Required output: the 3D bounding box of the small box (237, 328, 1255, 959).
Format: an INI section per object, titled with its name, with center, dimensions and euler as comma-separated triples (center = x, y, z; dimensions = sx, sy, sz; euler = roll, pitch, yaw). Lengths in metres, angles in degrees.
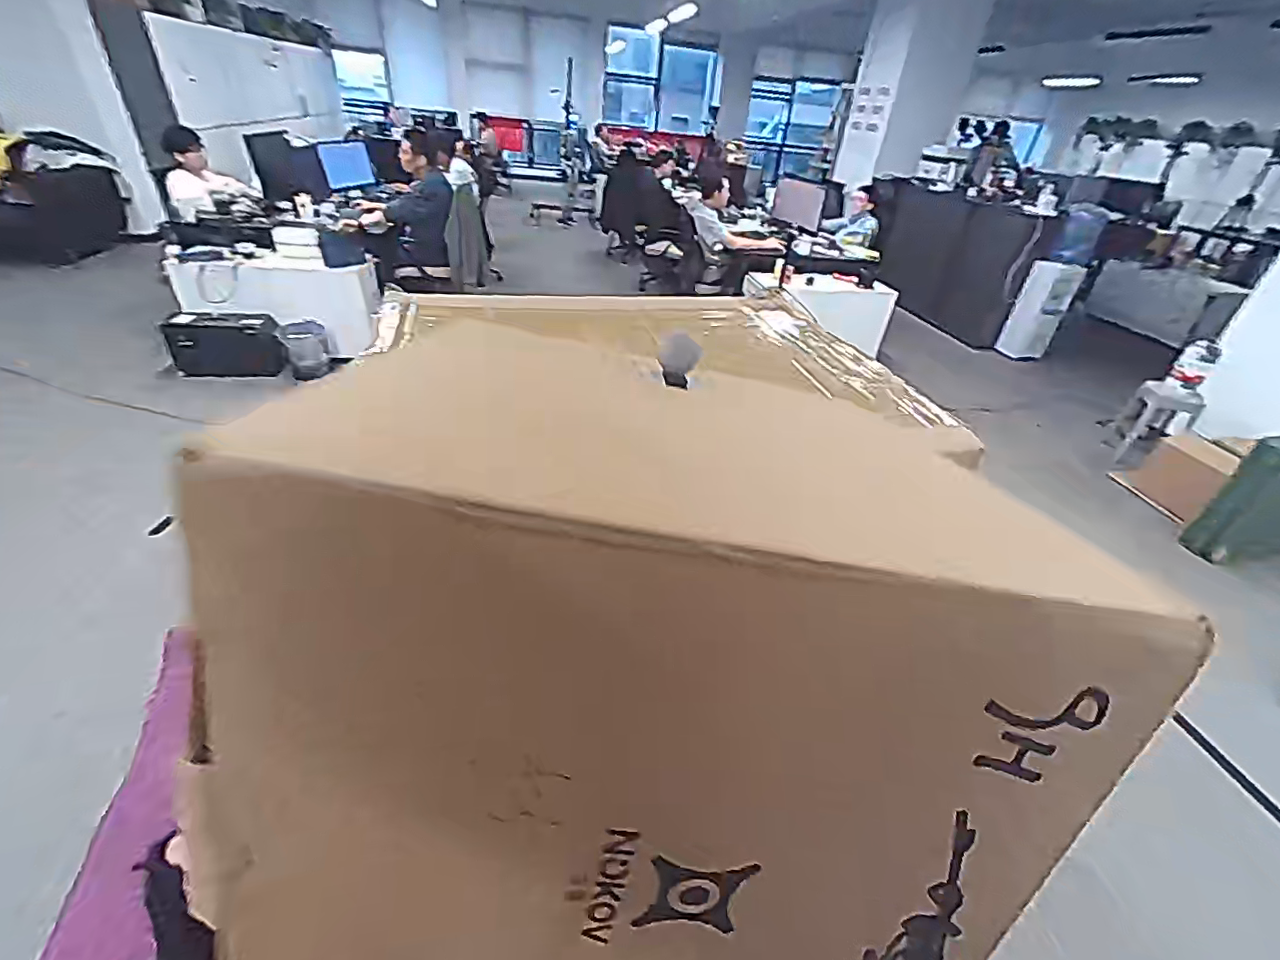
[small box]
center = 0.005, 0.050, 0.188
dimensions = 0.179, 0.168, 0.176
euler = 11, 20, -7
